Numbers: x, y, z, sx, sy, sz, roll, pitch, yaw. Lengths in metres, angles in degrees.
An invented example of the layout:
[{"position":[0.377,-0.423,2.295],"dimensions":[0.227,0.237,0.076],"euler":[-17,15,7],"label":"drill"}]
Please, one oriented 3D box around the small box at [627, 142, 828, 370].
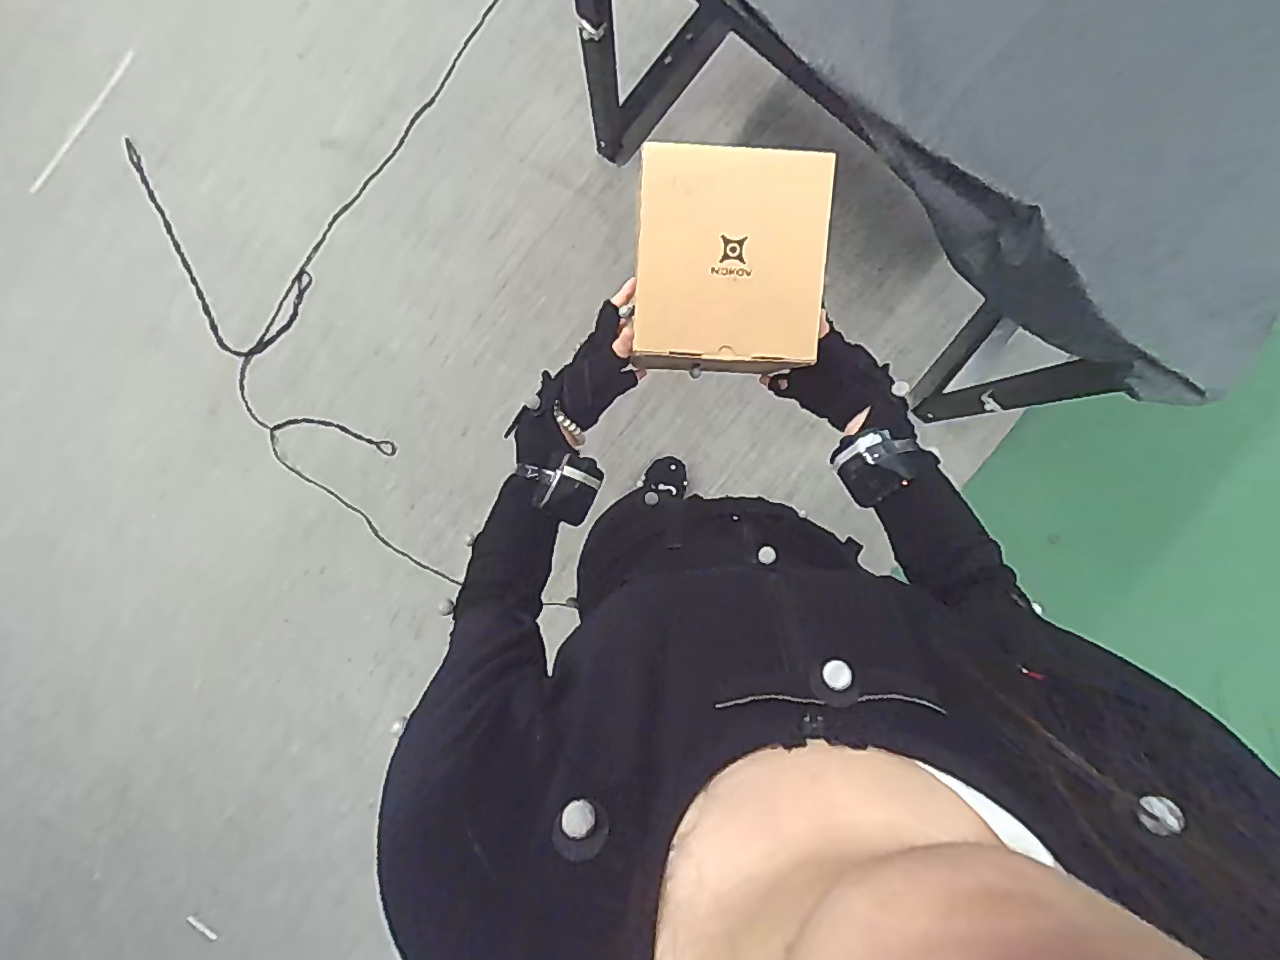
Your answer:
[{"position":[0.074,-0.211,0.555],"dimensions":[0.168,0.176,0.179],"euler":[3,99,-2],"label":"small box"}]
